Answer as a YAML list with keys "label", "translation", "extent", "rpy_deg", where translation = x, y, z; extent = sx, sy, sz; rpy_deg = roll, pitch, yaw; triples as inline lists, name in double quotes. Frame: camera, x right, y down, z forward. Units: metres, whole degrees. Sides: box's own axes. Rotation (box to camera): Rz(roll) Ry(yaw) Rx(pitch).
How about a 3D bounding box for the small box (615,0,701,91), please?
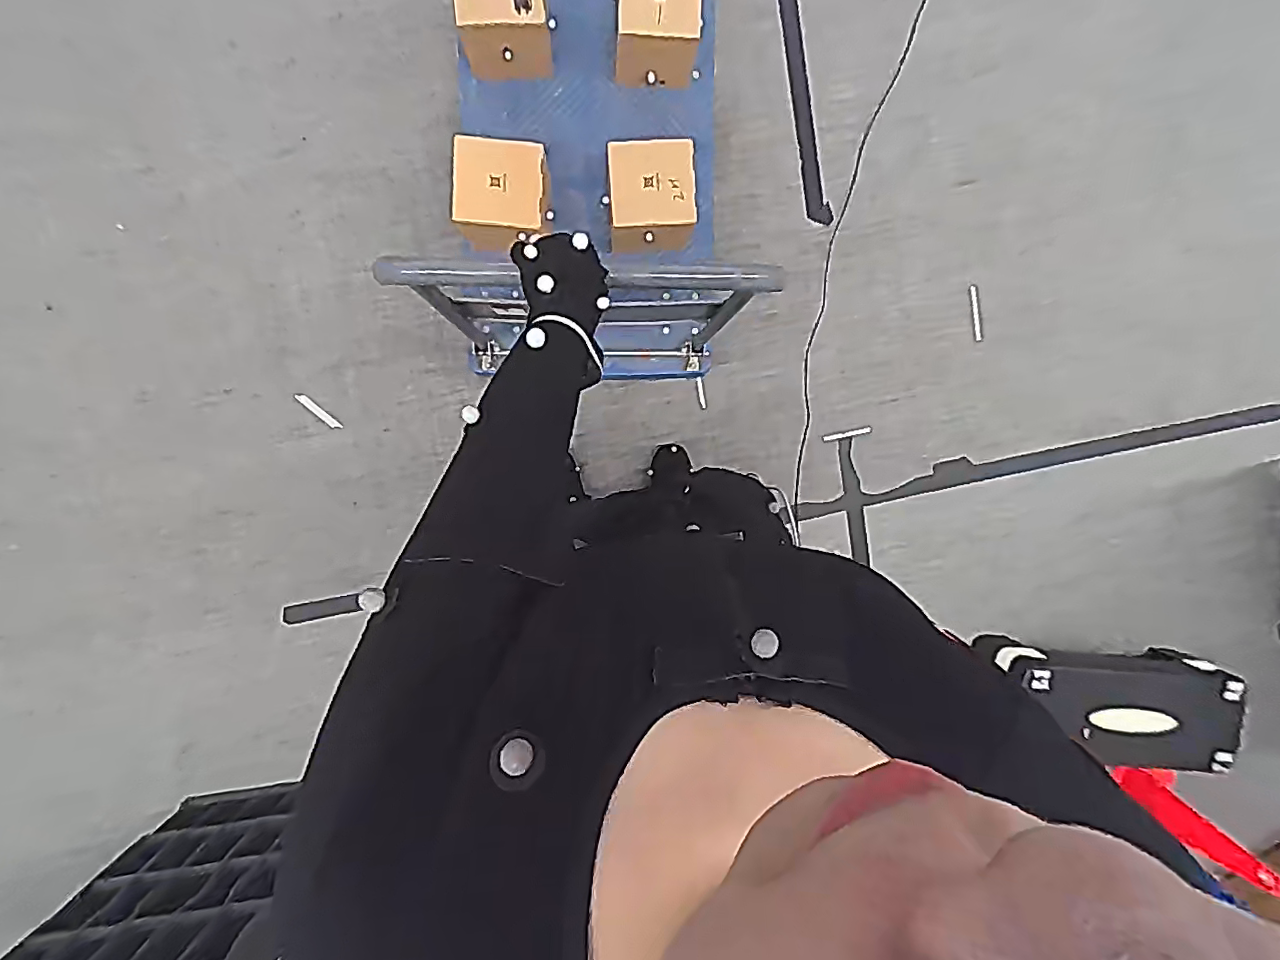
- label: "small box"
  translation: [0.033, -0.970, 1.140]
  extent: [0.168, 0.176, 0.179]
  rpy_deg: [1, 96, -4]

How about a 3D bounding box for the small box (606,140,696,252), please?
- label: "small box"
  translation: [0.020, -0.605, 1.171]
  extent: [0.179, 0.176, 0.168]
  rpy_deg: [-4, 95, -3]

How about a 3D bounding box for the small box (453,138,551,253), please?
- label: "small box"
  translation: [-0.288, -0.596, 1.152]
  extent: [0.179, 0.176, 0.168]
  rpy_deg: [2, 95, -5]
